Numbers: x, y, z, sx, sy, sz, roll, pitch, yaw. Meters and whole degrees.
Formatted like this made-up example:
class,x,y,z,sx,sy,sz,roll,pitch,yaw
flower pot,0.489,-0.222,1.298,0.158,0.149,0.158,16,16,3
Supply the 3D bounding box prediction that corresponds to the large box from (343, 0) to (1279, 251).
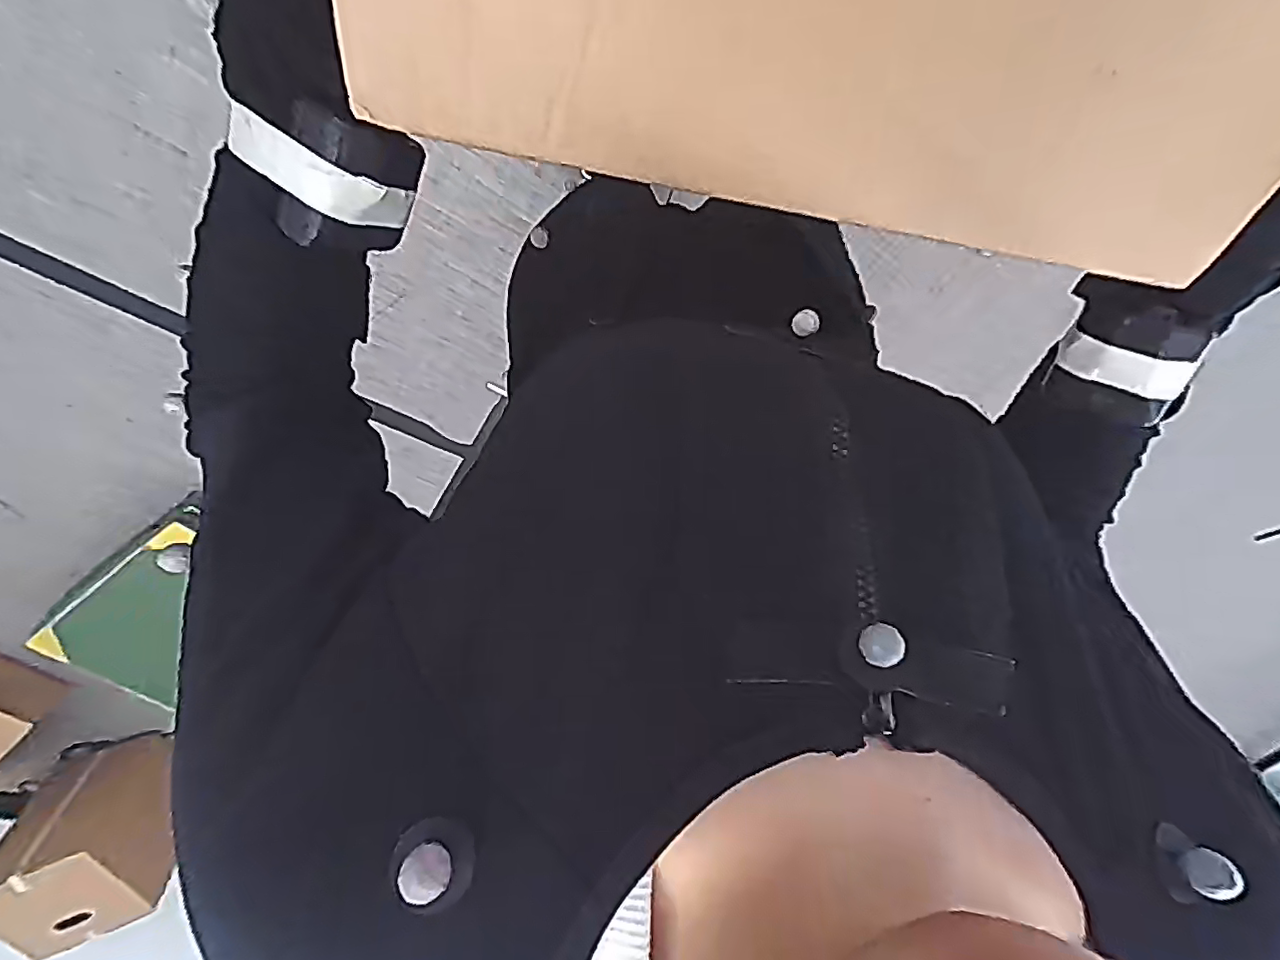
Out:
class,x,y,z,sx,sy,sz,roll,pitch,yaw
large box,0.099,-0.349,0.262,0.408,0.320,0.320,7,132,-7
